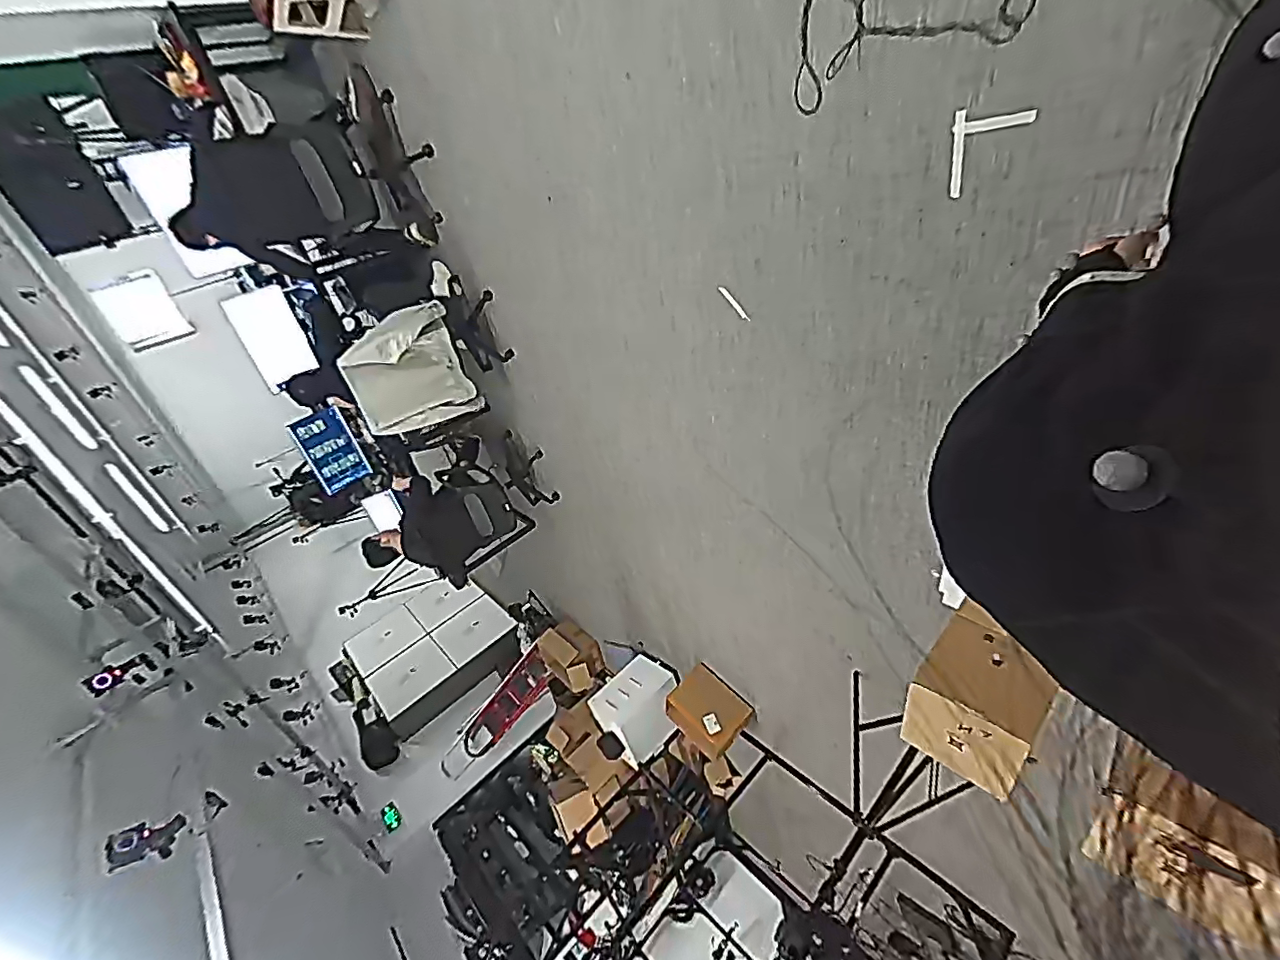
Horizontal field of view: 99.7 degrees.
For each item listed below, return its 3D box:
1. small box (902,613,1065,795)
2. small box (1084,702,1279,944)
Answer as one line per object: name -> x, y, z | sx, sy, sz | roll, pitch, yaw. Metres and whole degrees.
small box -> 0.555, 0.356, 0.881 | 0.168, 0.176, 0.179 | 25, 139, 41
small box -> 0.725, 0.433, 0.708 | 0.168, 0.176, 0.179 | 23, 138, 44
